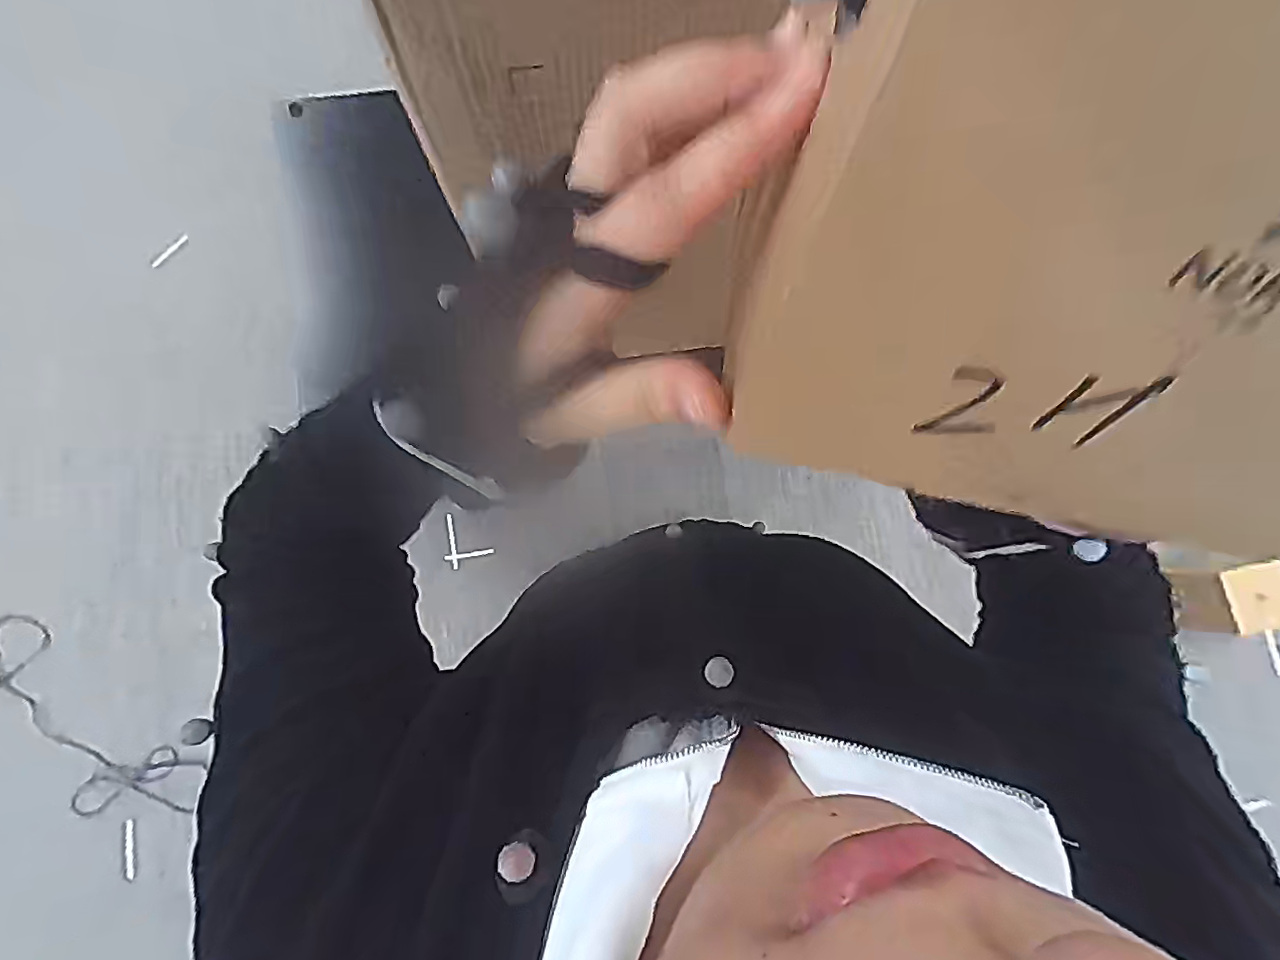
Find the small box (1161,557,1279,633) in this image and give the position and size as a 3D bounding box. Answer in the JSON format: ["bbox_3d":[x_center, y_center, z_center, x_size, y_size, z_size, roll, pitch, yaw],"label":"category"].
[{"bbox_3d":[1.600,0.307,1.473,0.179,0.176,0.168,-13,81,-3],"label":"small box"}]

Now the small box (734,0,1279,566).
[{"bbox_3d":[0.130,-0.104,0.140,0.168,0.179,0.176,13,54,-2],"label":"small box"}]
